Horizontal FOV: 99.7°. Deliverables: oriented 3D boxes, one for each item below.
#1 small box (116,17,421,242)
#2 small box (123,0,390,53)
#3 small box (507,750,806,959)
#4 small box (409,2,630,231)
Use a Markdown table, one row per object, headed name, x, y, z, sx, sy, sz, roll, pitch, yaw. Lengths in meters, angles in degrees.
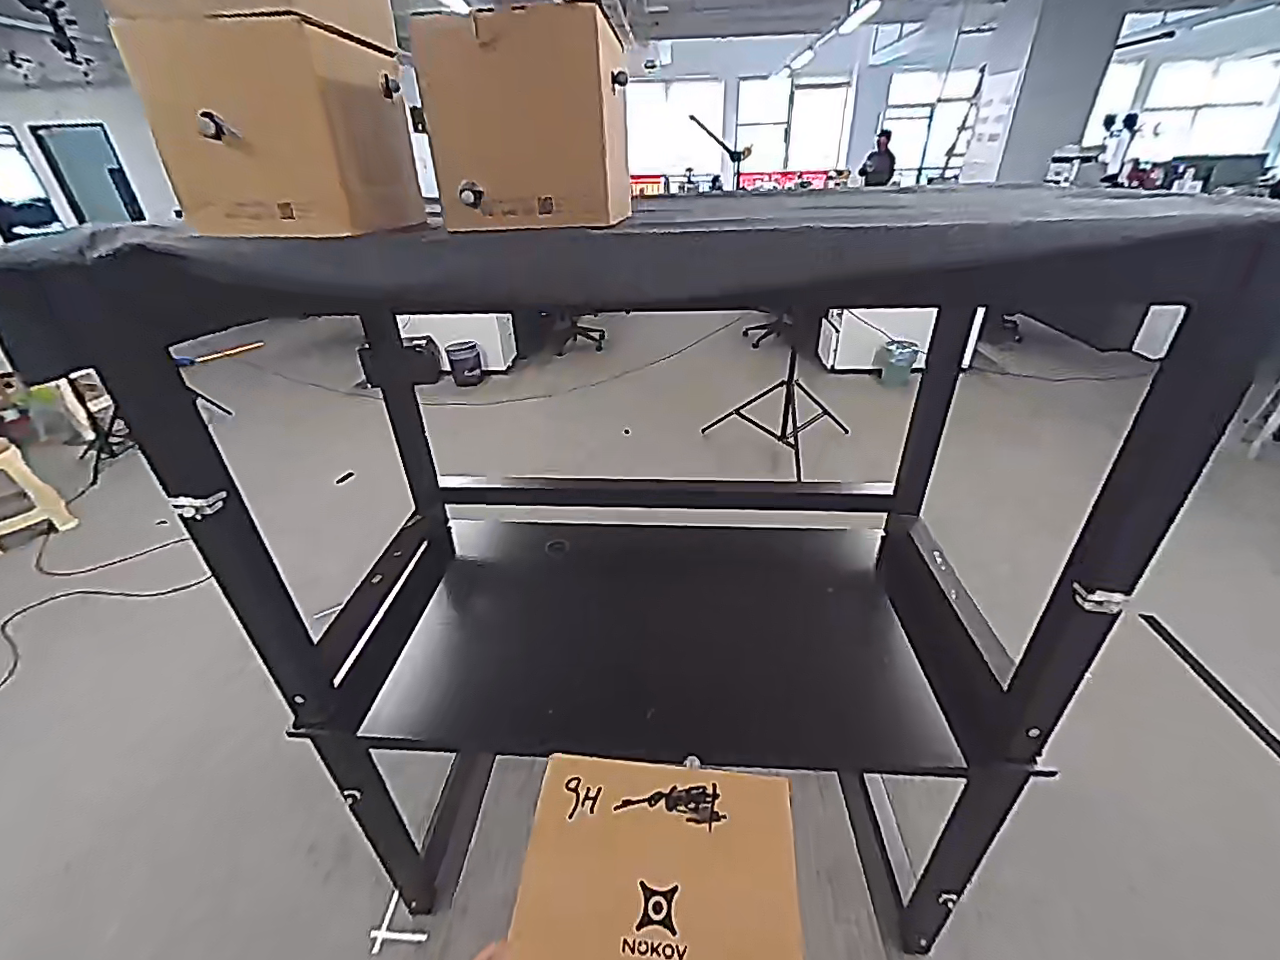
| name | x | y | z | sx | sy | sz | roll | pitch | yaw |
| --- | --- | --- | --- | --- | --- | --- | --- | --- | --- |
| small box | -0.345 | -0.339 | 0.551 | 0.168 | 0.176 | 0.179 | 1 | 29 | 3 |
| small box | -0.344 | -0.482 | 0.472 | 0.168 | 0.176 | 0.179 | 1 | 29 | 6 |
| small box | 0.013 | 0.309 | 0.361 | 0.168 | 0.176 | 0.179 | 3 | 44 | 6 |
| small box | -0.102 | -0.351 | 0.553 | 0.168 | 0.176 | 0.179 | 1 | 28 | 6 |
